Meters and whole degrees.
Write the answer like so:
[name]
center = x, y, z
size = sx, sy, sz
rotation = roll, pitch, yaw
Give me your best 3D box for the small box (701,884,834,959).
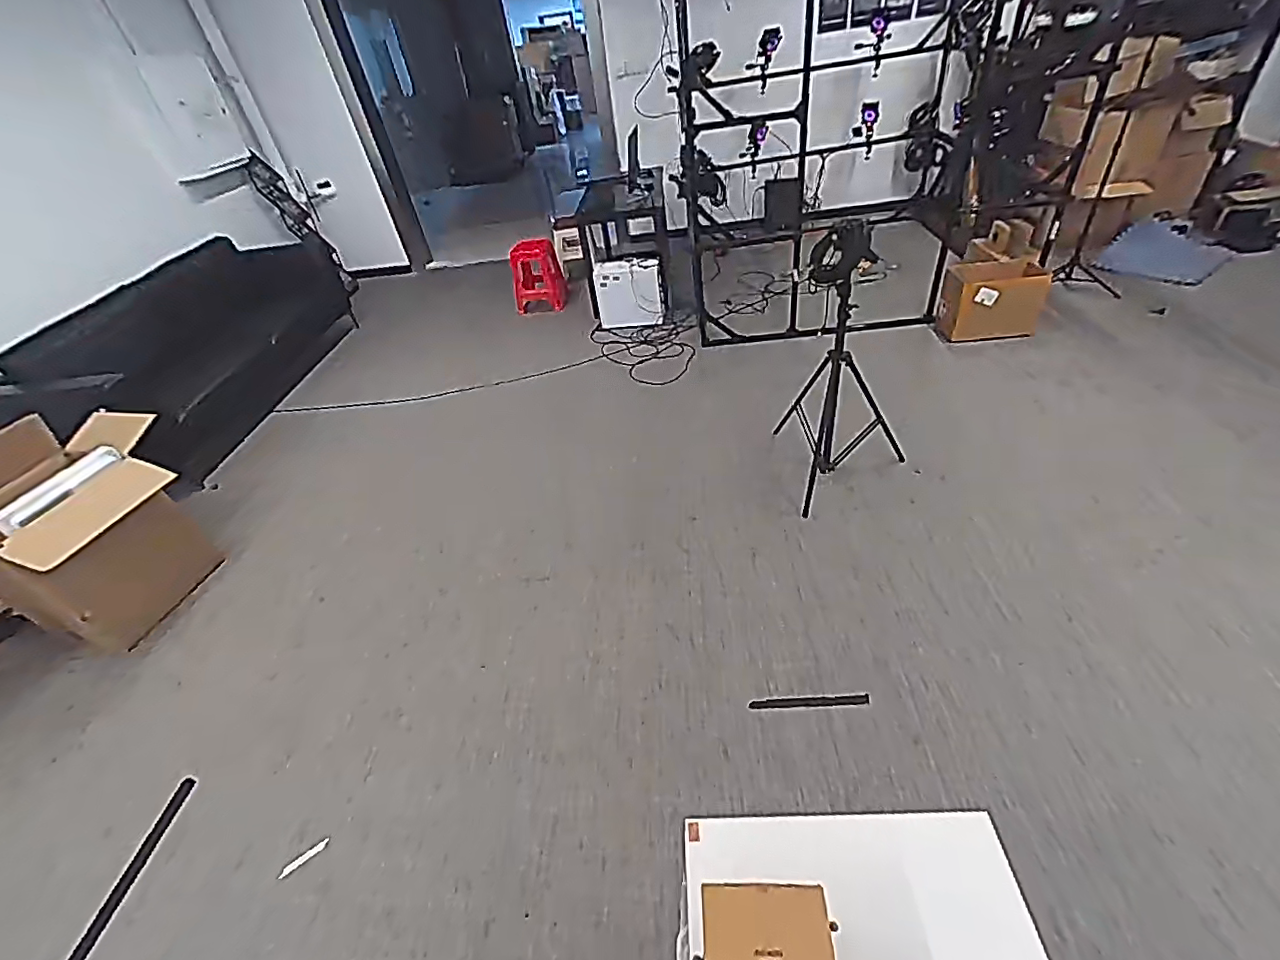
[small box]
center = 0.173, 0.671, 0.725
size = 0.168, 0.176, 0.179
rotation = -4, 40, 6
